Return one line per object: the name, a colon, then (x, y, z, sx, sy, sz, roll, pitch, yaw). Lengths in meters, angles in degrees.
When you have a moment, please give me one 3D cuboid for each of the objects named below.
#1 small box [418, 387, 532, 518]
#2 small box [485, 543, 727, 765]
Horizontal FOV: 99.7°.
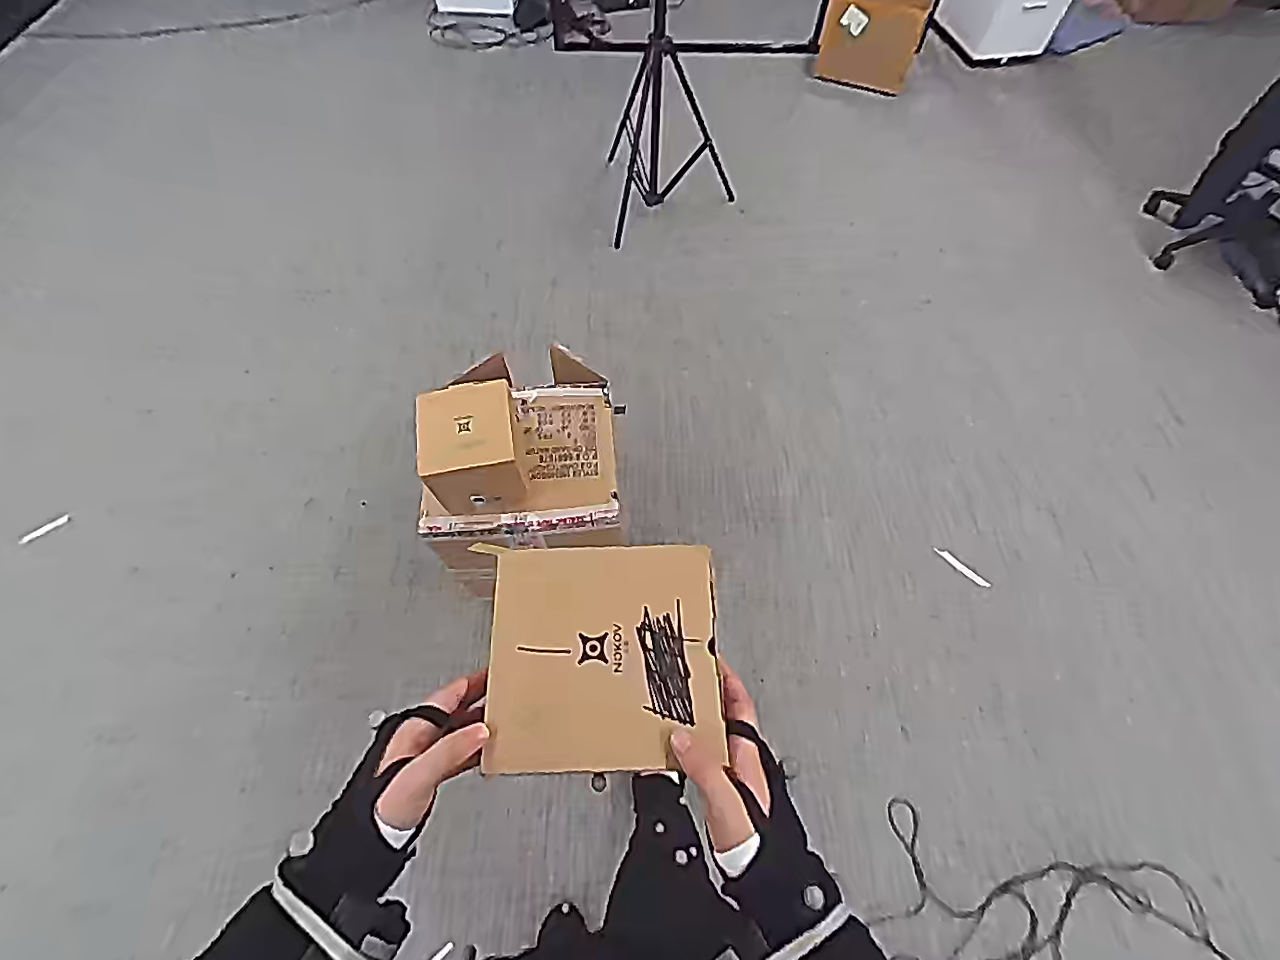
small box: (-0.308, -0.049, 1.026, 0.168, 0.176, 0.179, -11, 65, -5)
small box: (-0.026, 0.163, 0.492, 0.179, 0.176, 0.168, -2, 63, -1)
